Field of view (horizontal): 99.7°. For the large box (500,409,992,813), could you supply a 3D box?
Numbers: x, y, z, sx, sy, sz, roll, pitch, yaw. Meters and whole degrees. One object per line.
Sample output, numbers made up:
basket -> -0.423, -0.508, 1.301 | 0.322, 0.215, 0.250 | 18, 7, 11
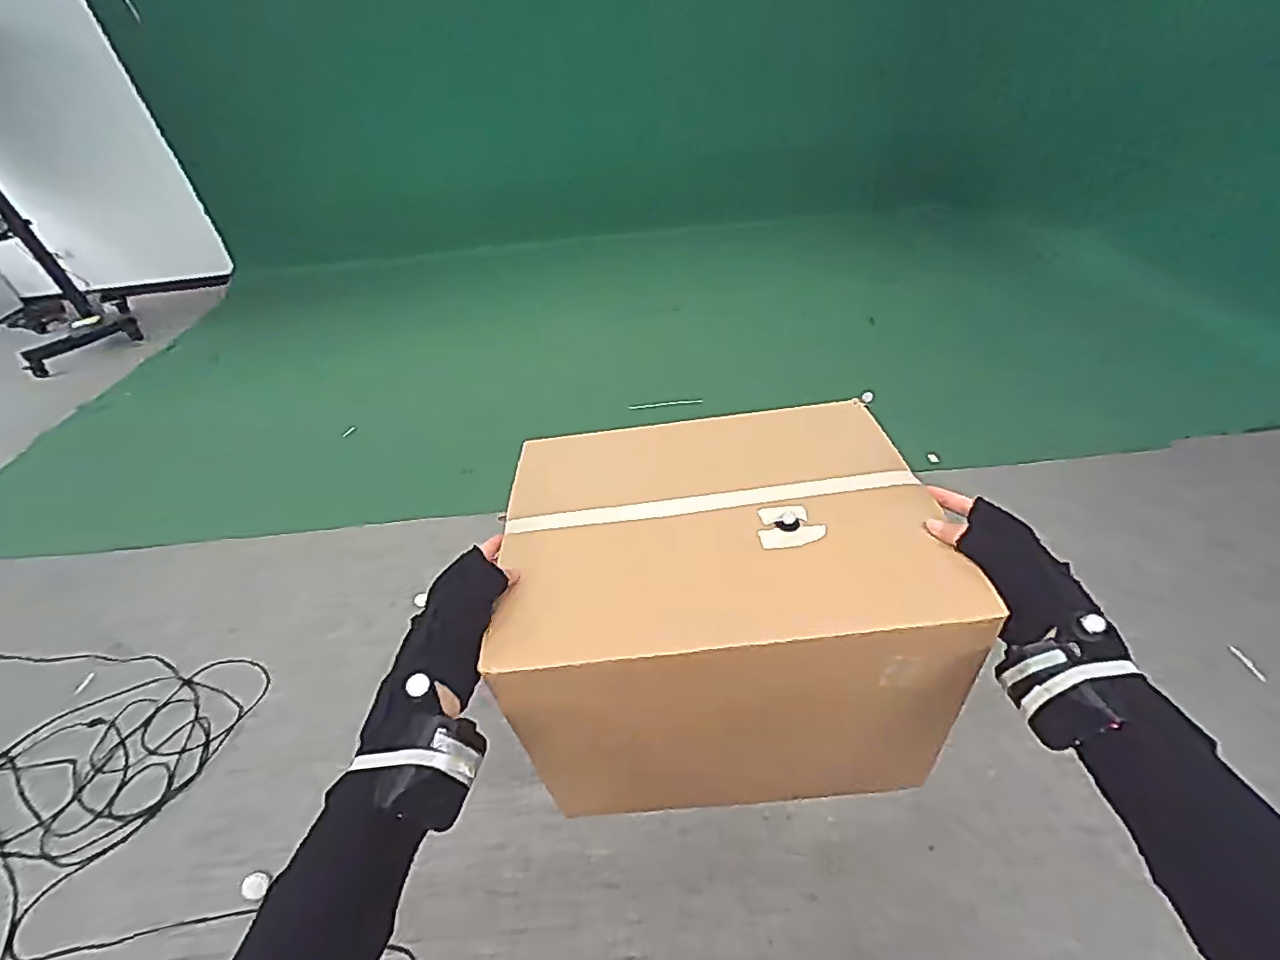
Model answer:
large box -> 0.089, 0.147, 0.634 | 0.408, 0.320, 0.320 | -7, 39, 2
